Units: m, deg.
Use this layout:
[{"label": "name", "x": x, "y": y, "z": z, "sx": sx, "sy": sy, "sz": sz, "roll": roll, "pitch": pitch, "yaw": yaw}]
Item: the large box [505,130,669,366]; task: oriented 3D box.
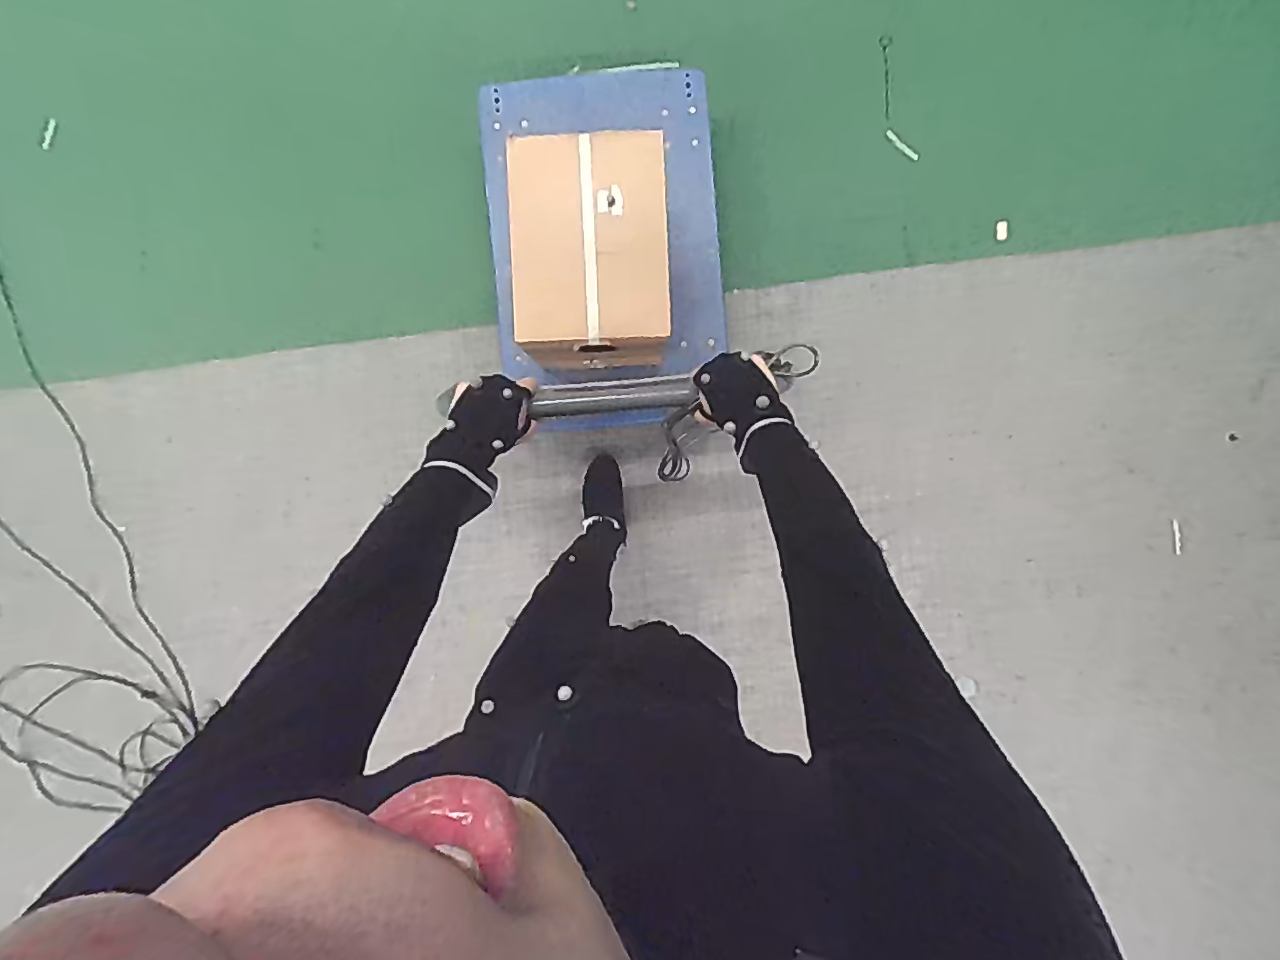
[{"label": "large box", "x": -0.105, "y": -0.490, "z": 1.219, "sx": 0.320, "sy": 0.320, "sz": 0.408, "roll": -2, "pitch": 92, "yaw": -1}]
